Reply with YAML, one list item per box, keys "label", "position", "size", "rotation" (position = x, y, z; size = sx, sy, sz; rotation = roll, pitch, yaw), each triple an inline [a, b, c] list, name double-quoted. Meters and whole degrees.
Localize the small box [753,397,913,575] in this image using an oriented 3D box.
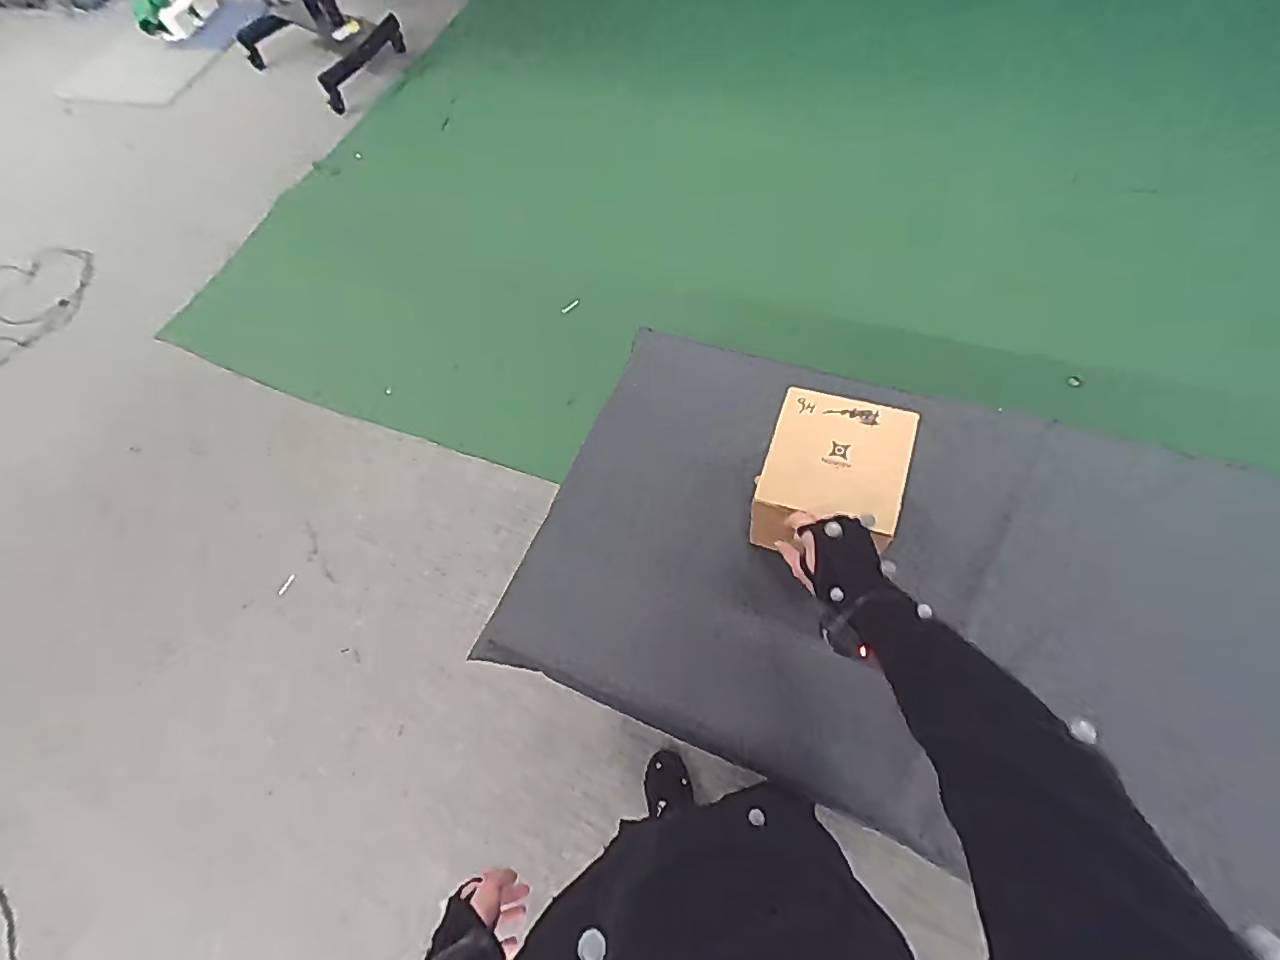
- label: "small box"
  position: [0.259, 0.014, 0.749]
  size: [0.168, 0.176, 0.179]
  rotation: [13, 67, 17]
